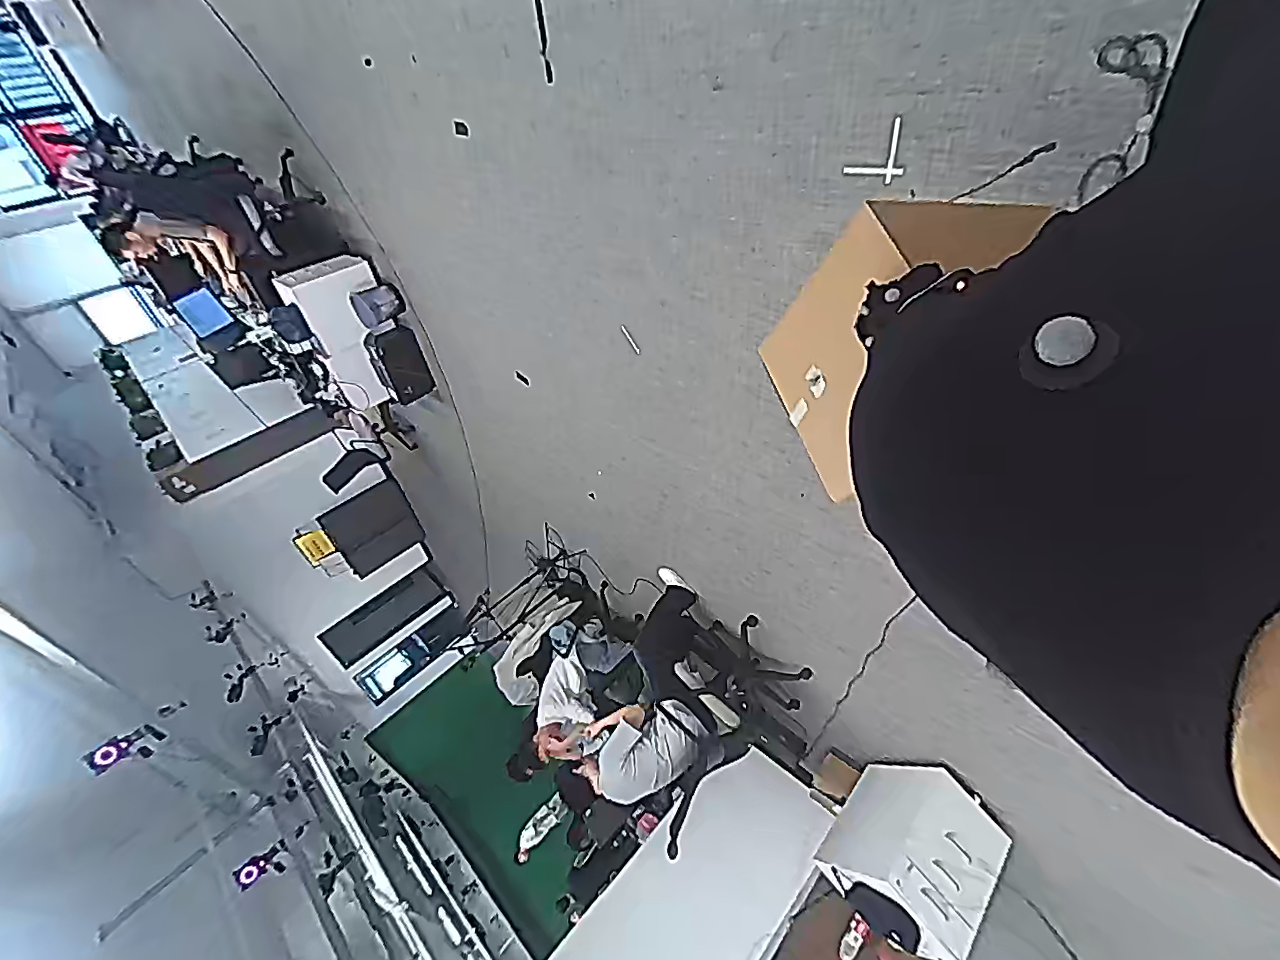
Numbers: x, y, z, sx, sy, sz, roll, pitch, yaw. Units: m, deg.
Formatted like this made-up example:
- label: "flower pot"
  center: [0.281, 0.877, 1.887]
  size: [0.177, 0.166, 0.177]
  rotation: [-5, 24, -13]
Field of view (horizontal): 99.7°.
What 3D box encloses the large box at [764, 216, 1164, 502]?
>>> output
- label: "large box"
  center: [0.487, -0.193, 0.881]
  size: [0.320, 0.408, 0.320]
  rotation: [122, 133, -59]
